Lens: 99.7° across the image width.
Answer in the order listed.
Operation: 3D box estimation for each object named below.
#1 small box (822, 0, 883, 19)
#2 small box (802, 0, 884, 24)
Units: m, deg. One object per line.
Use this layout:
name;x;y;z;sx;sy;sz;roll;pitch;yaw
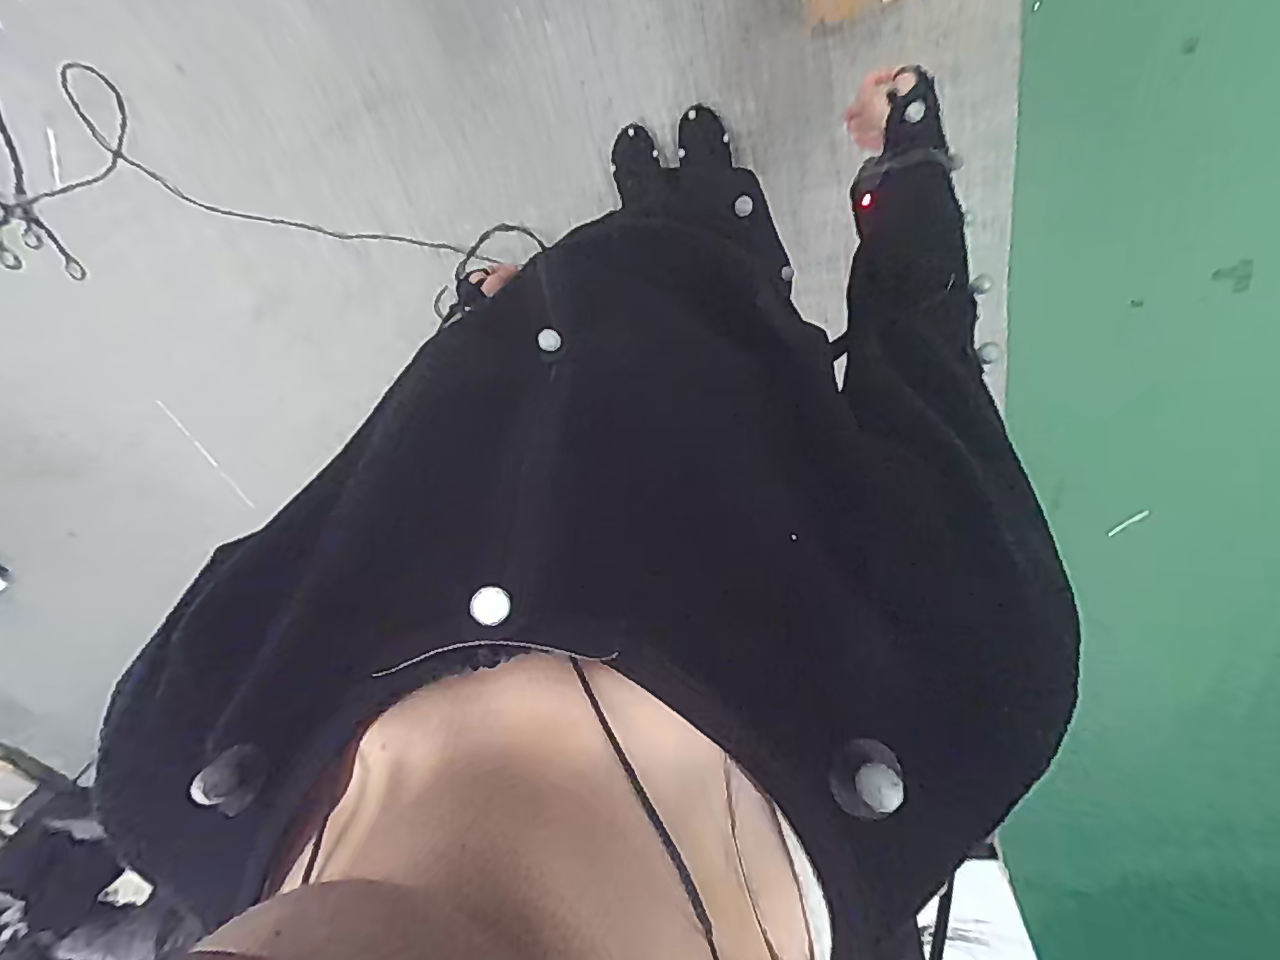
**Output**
small box;0.359;-0.826;0.801;0.168;0.176;0.179;-11;124;16
small box;0.372;-0.920;0.932;0.179;0.176;0.168;-9;124;14
